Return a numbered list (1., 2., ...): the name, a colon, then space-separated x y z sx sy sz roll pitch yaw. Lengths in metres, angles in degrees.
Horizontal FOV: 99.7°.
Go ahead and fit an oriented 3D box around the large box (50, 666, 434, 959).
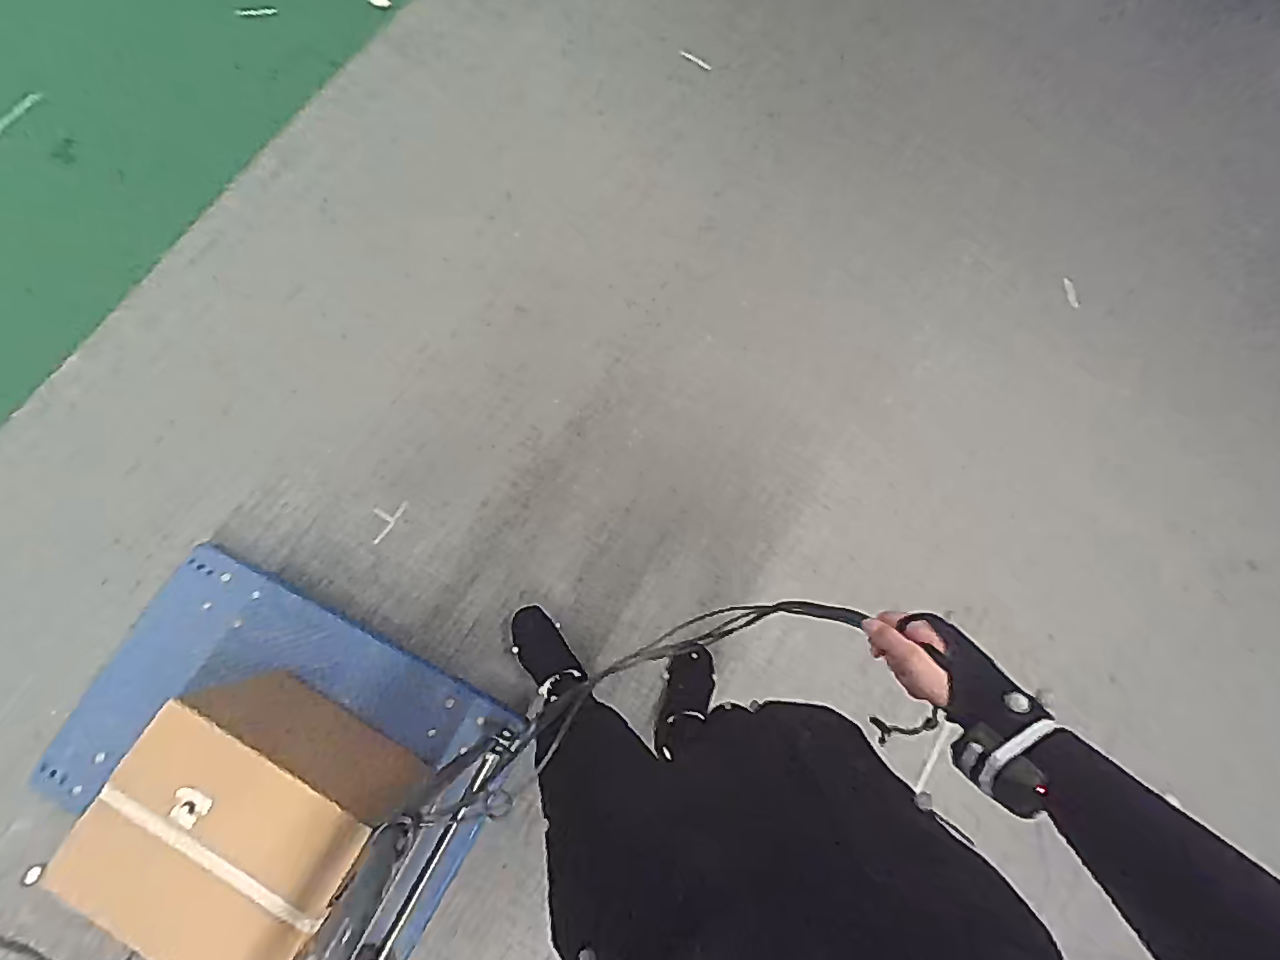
1. large box: -0.673 0.600 0.996 0.408 0.320 0.320 30 79 3
